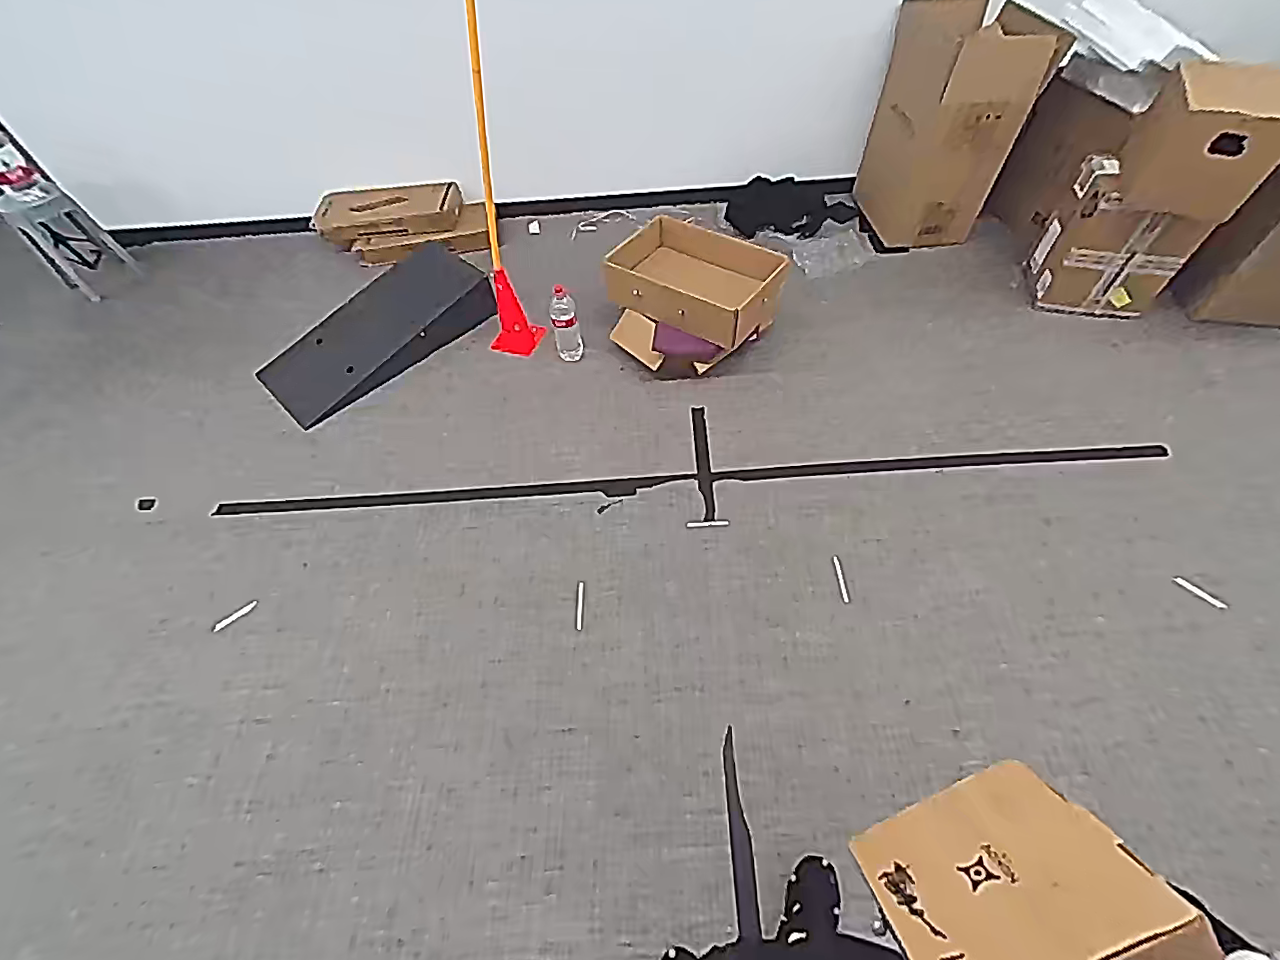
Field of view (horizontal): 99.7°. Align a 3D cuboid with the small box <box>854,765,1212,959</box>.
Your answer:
[{"bbox_3d":[0.313,0.382,0.434,0.179,0.168,0.176,-26,94,1],"label":"small box"}]
